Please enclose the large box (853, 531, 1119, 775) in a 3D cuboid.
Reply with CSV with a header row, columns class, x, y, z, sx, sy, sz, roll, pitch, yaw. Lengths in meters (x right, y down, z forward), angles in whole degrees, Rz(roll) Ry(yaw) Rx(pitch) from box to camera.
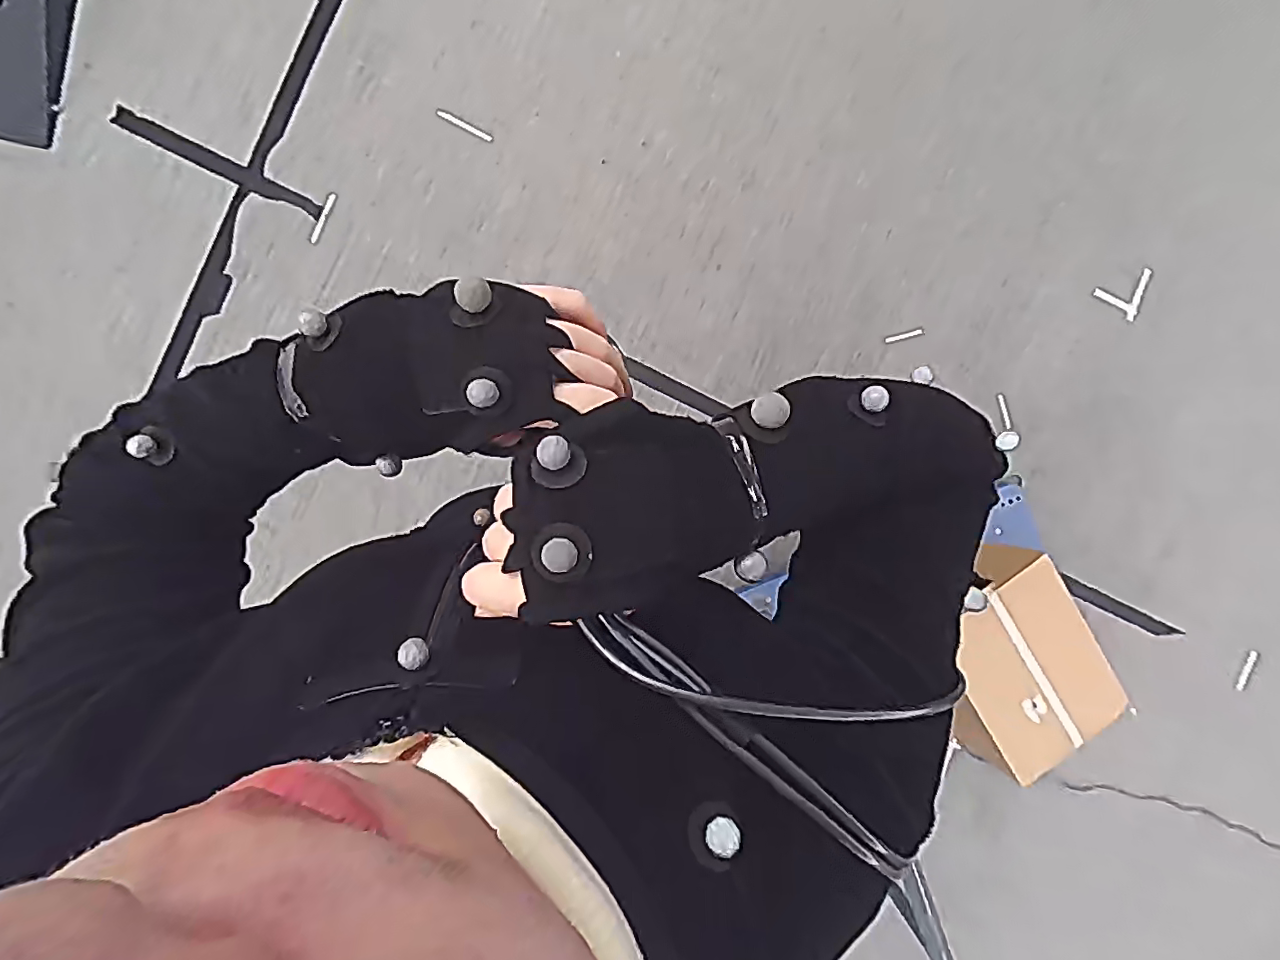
class,x,y,z,sx,sy,sz,roll,pitch,yaw
large box,0.801,0.383,1.298,0.320,0.320,0.408,-33,96,-4
